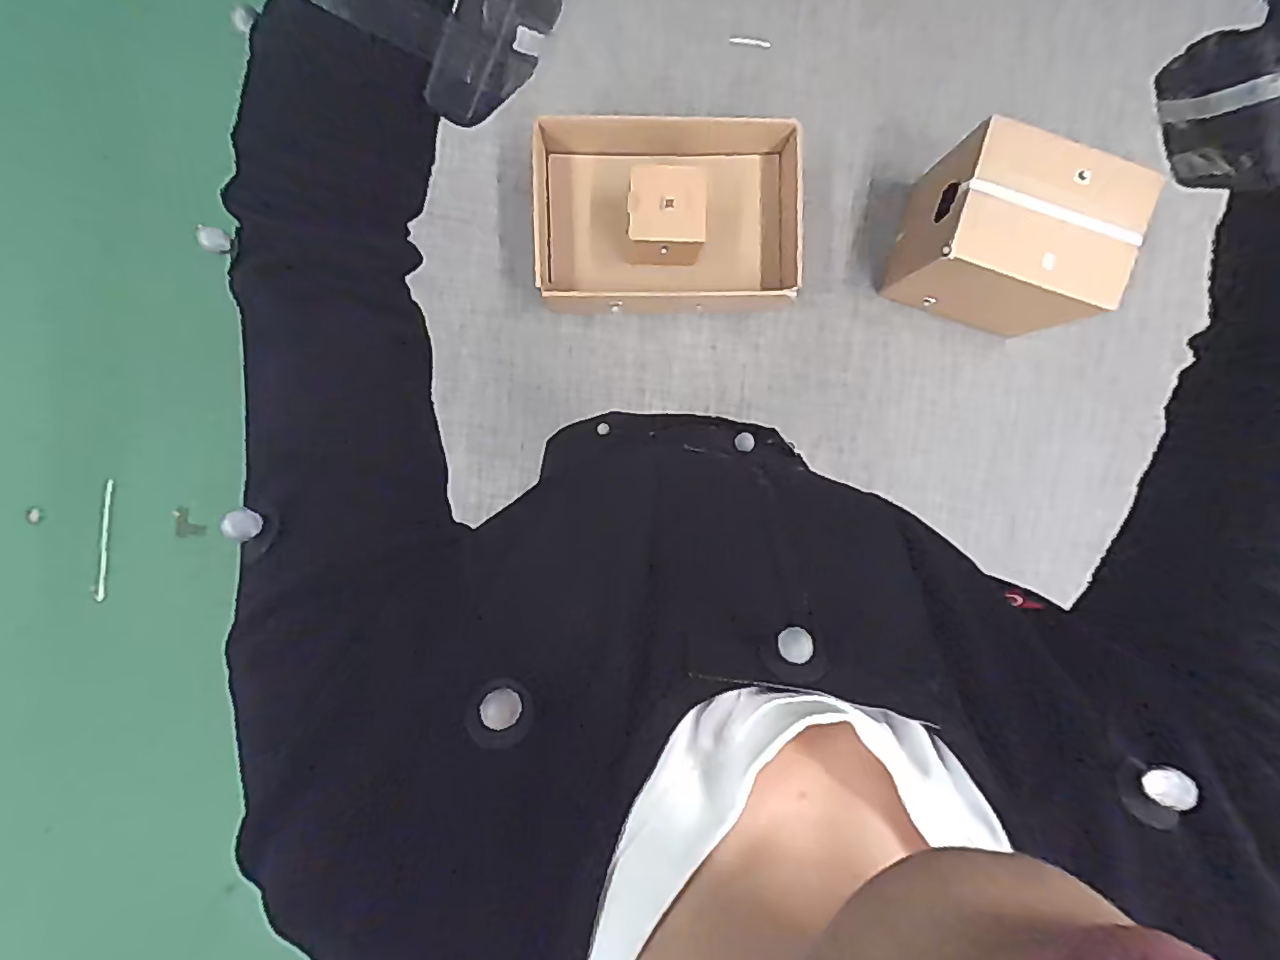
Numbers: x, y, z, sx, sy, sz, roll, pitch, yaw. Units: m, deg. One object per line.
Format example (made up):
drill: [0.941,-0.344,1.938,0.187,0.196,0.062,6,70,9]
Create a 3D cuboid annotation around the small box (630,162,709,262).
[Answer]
small box: [0.066,-0.635,1.299,0.179,0.176,0.168,0,94,-4]
